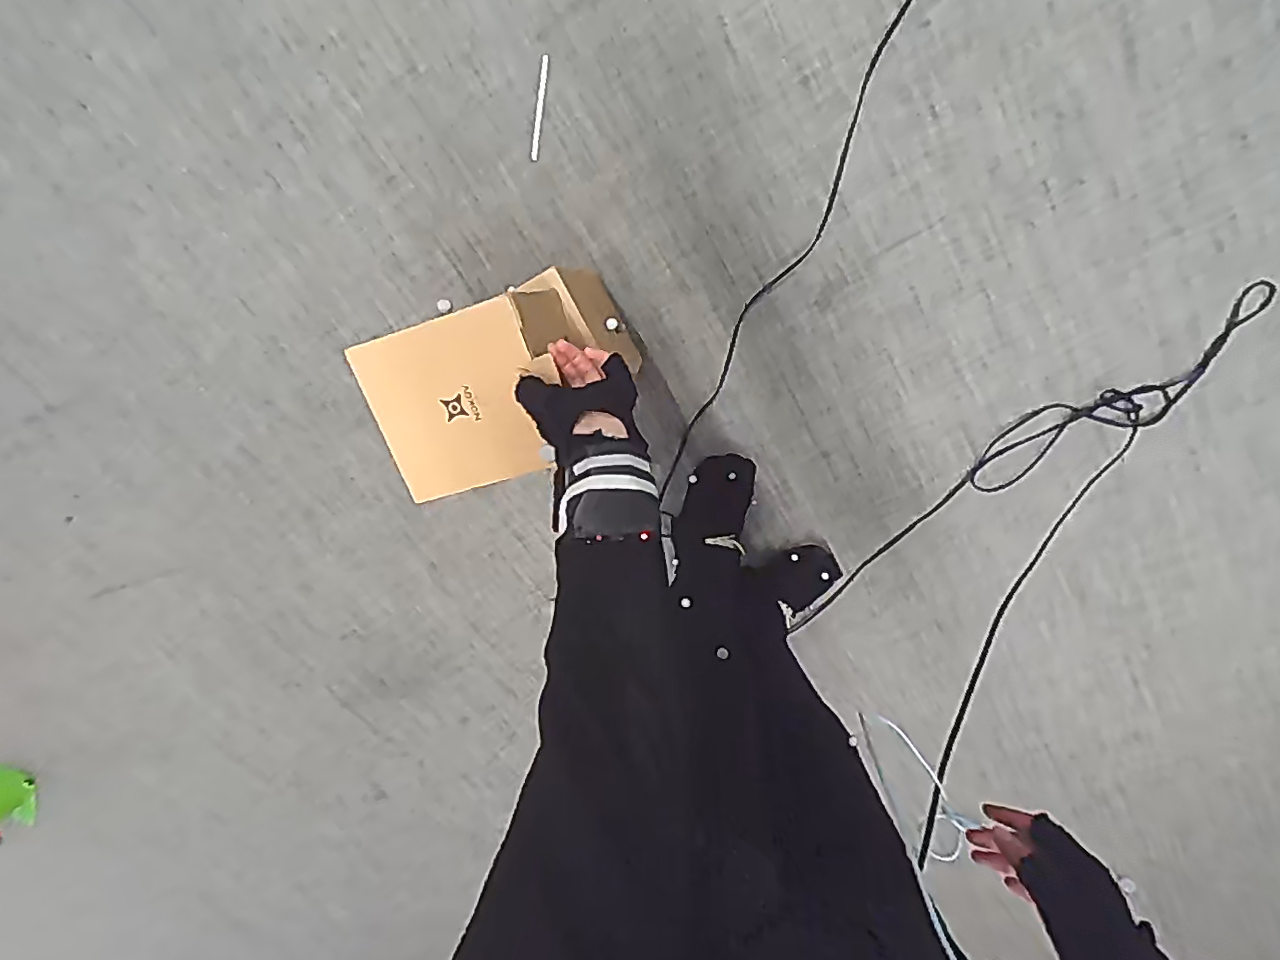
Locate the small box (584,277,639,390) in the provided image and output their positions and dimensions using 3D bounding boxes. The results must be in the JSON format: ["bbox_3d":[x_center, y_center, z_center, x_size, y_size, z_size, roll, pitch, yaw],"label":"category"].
[{"bbox_3d":[-0.112,-0.219,0.895,0.168,0.176,0.179,-26,107,13],"label":"small box"}]

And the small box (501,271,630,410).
[{"bbox_3d":[-0.128,-0.166,0.739,0.179,0.176,0.168,-25,106,13],"label":"small box"}]

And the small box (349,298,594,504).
[{"bbox_3d":[-0.166,-0.094,0.595,0.179,0.176,0.168,-14,108,10],"label":"small box"}]
